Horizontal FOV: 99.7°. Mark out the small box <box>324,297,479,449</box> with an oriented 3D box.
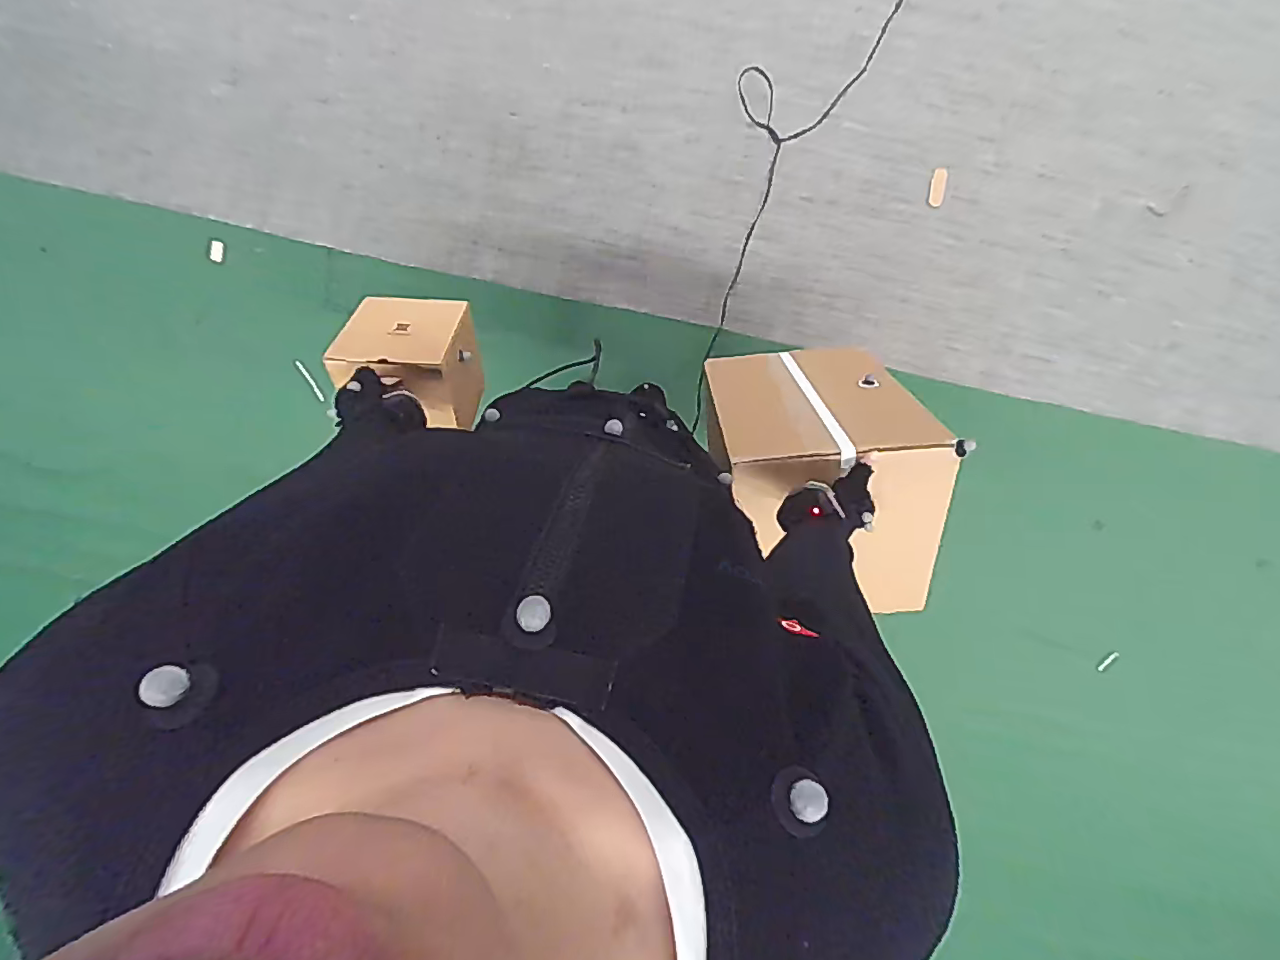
[{"bbox_3d":[-0.366,-0.172,0.874,0.168,0.179,0.176,2,138,-2],"label":"small box"}]
